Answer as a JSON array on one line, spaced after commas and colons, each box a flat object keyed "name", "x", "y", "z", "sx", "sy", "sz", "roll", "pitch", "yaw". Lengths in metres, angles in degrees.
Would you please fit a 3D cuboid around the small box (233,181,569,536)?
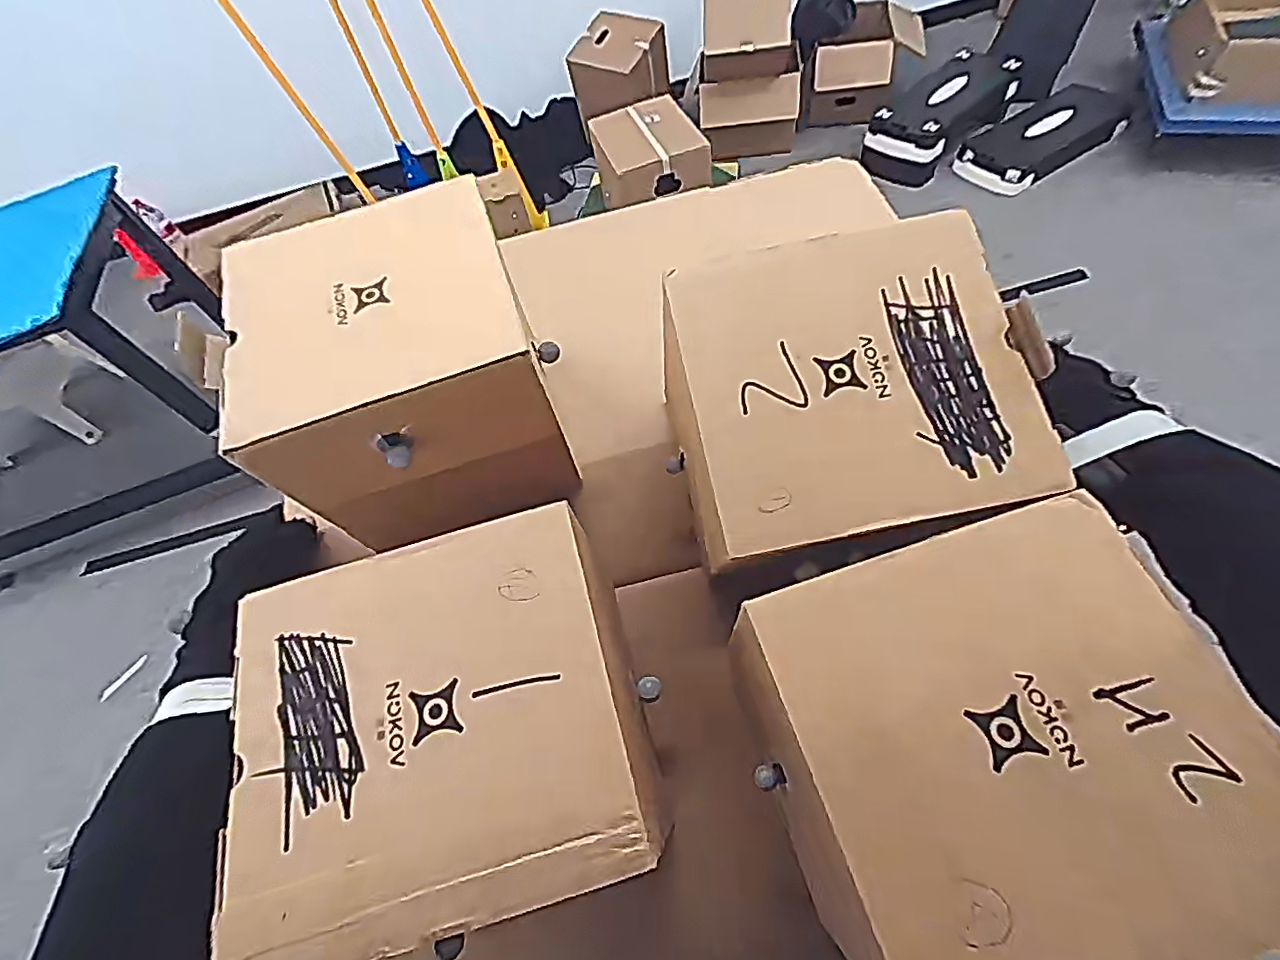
[{"name": "small box", "x": -0.162, "y": -0.079, "z": 0.412, "sx": 0.179, "sy": 0.176, "sz": 0.168, "roll": -20, "pitch": 64, "yaw": -3}]
